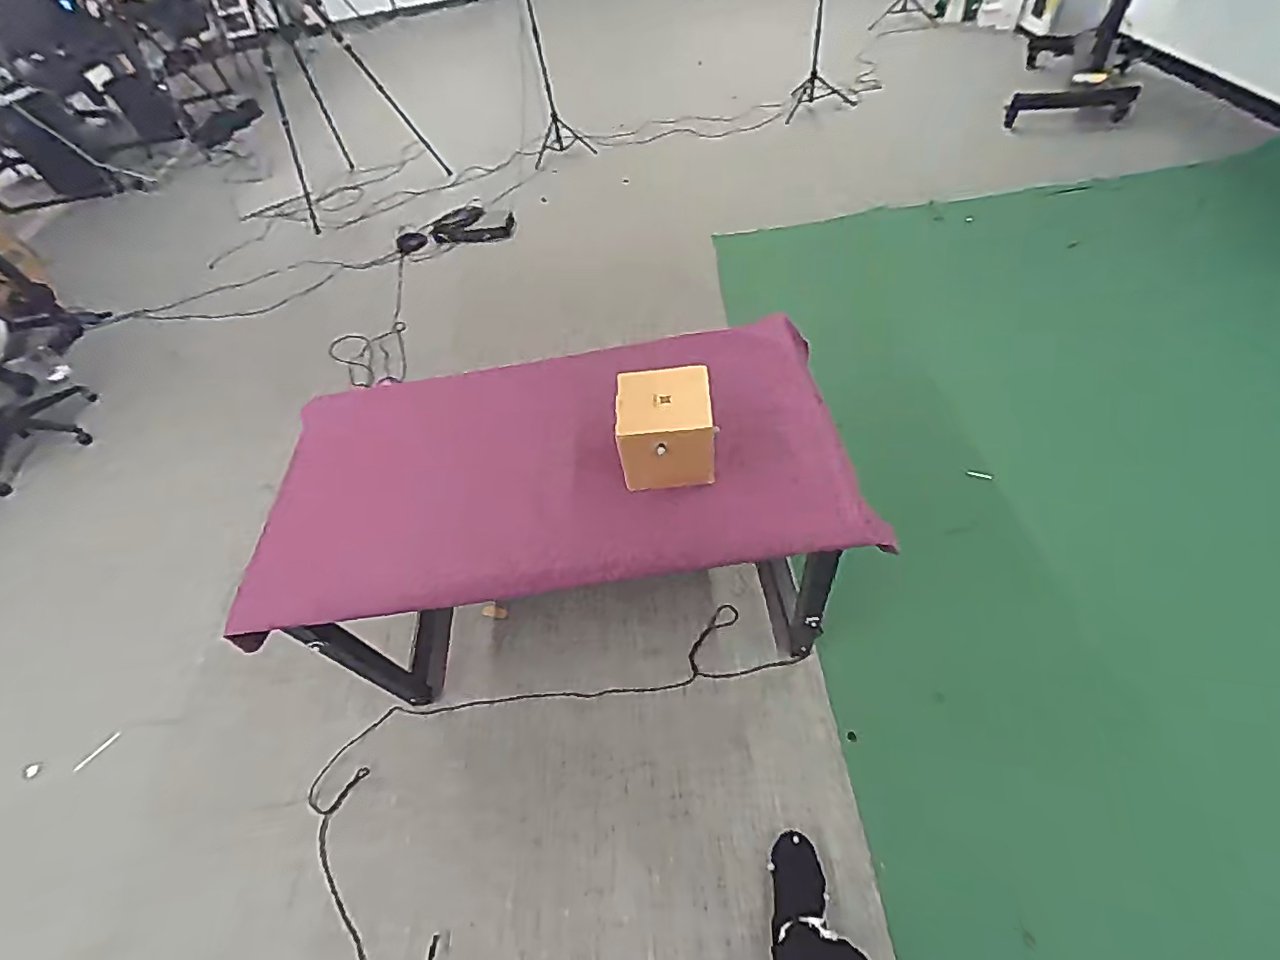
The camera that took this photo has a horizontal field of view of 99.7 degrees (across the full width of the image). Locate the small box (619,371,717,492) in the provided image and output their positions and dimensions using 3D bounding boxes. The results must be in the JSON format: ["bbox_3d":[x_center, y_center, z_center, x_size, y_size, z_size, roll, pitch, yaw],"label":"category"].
[{"bbox_3d":[0.059,-0.090,1.064,0.179,0.176,0.168,-5,53,7],"label":"small box"}]
